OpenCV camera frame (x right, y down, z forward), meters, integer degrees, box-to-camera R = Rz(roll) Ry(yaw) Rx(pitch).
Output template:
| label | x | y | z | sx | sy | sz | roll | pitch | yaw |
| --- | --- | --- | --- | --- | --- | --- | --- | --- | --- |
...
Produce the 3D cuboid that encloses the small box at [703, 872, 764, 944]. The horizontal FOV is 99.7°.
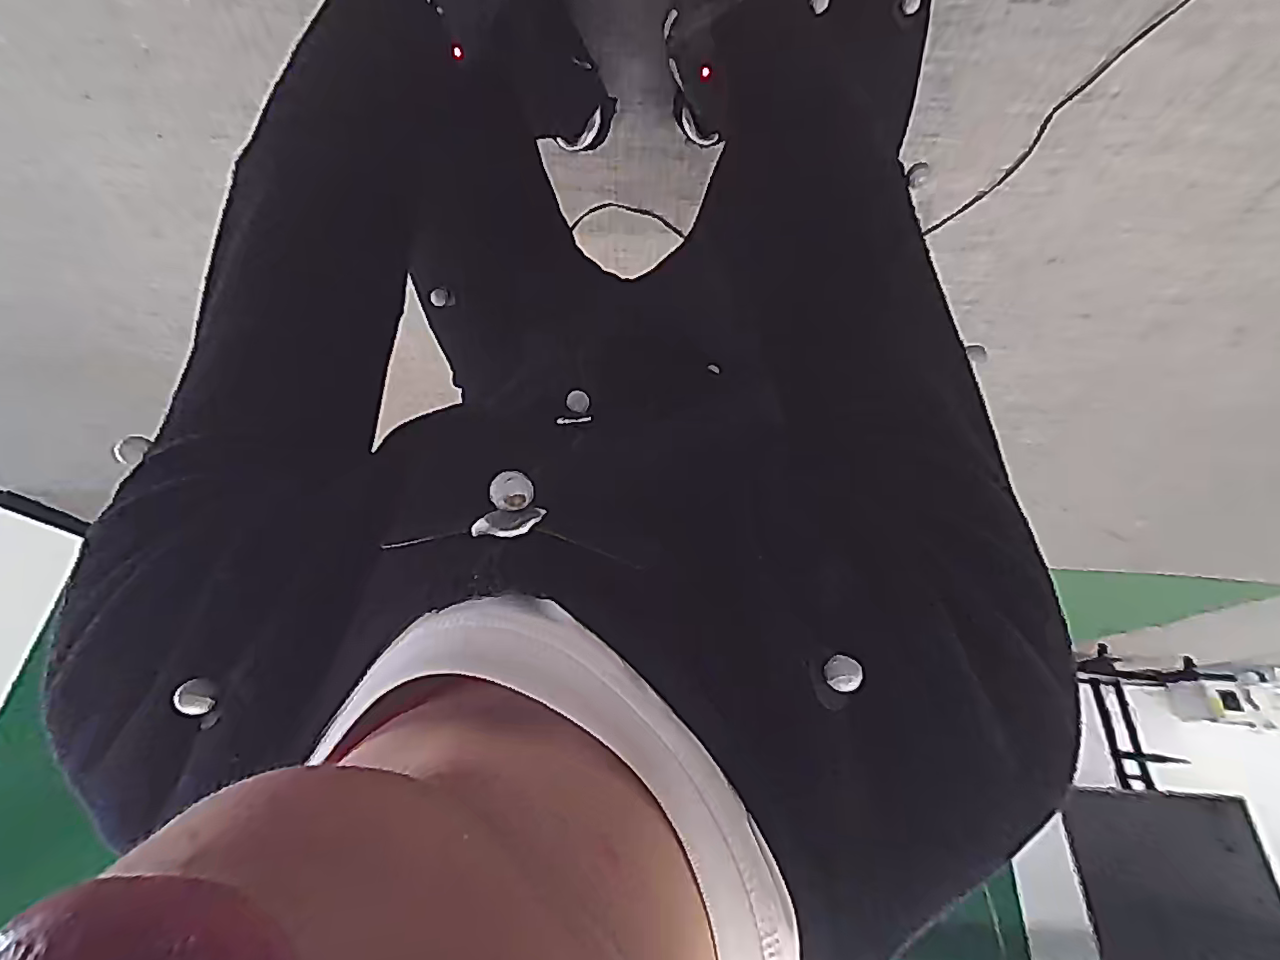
| label | x | y | z | sx | sy | sz | roll | pitch | yaw |
| --- | --- | --- | --- | --- | --- | --- | --- | --- | --- |
| small box | 0.319 | 1.482 | 1.879 | 0.179 | 0.176 | 0.168 | 4 | 151 | -3 |
